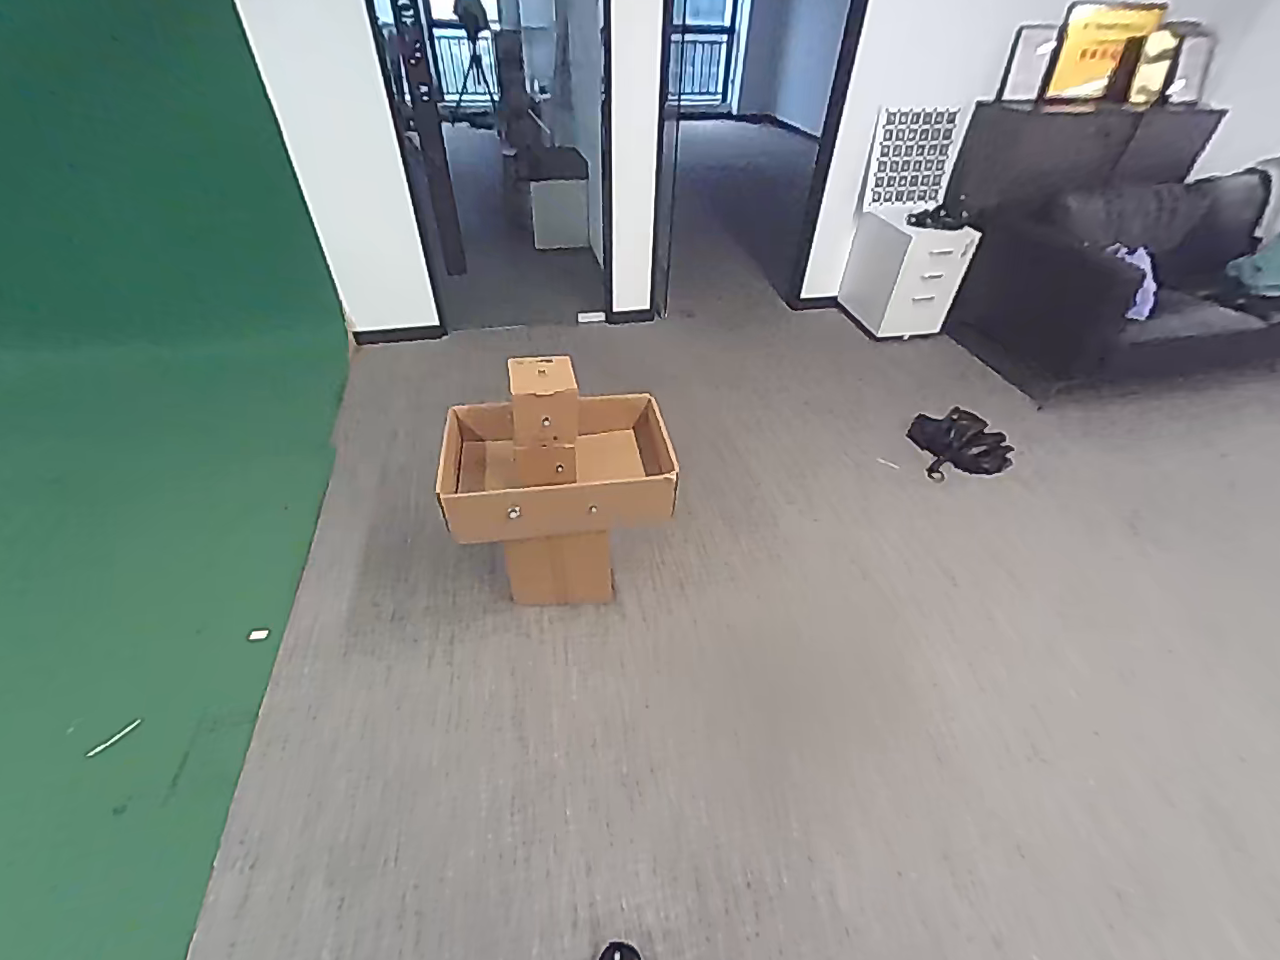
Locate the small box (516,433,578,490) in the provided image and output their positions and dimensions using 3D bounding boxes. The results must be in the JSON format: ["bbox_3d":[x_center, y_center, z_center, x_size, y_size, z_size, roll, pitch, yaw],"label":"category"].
[{"bbox_3d":[-0.266,-0.083,1.549,0.168,0.176,0.179,-4,40,-11],"label":"small box"}]

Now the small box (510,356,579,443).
[{"bbox_3d":[-0.254,-0.211,1.447,0.168,0.176,0.179,-5,43,-13],"label":"small box"}]
